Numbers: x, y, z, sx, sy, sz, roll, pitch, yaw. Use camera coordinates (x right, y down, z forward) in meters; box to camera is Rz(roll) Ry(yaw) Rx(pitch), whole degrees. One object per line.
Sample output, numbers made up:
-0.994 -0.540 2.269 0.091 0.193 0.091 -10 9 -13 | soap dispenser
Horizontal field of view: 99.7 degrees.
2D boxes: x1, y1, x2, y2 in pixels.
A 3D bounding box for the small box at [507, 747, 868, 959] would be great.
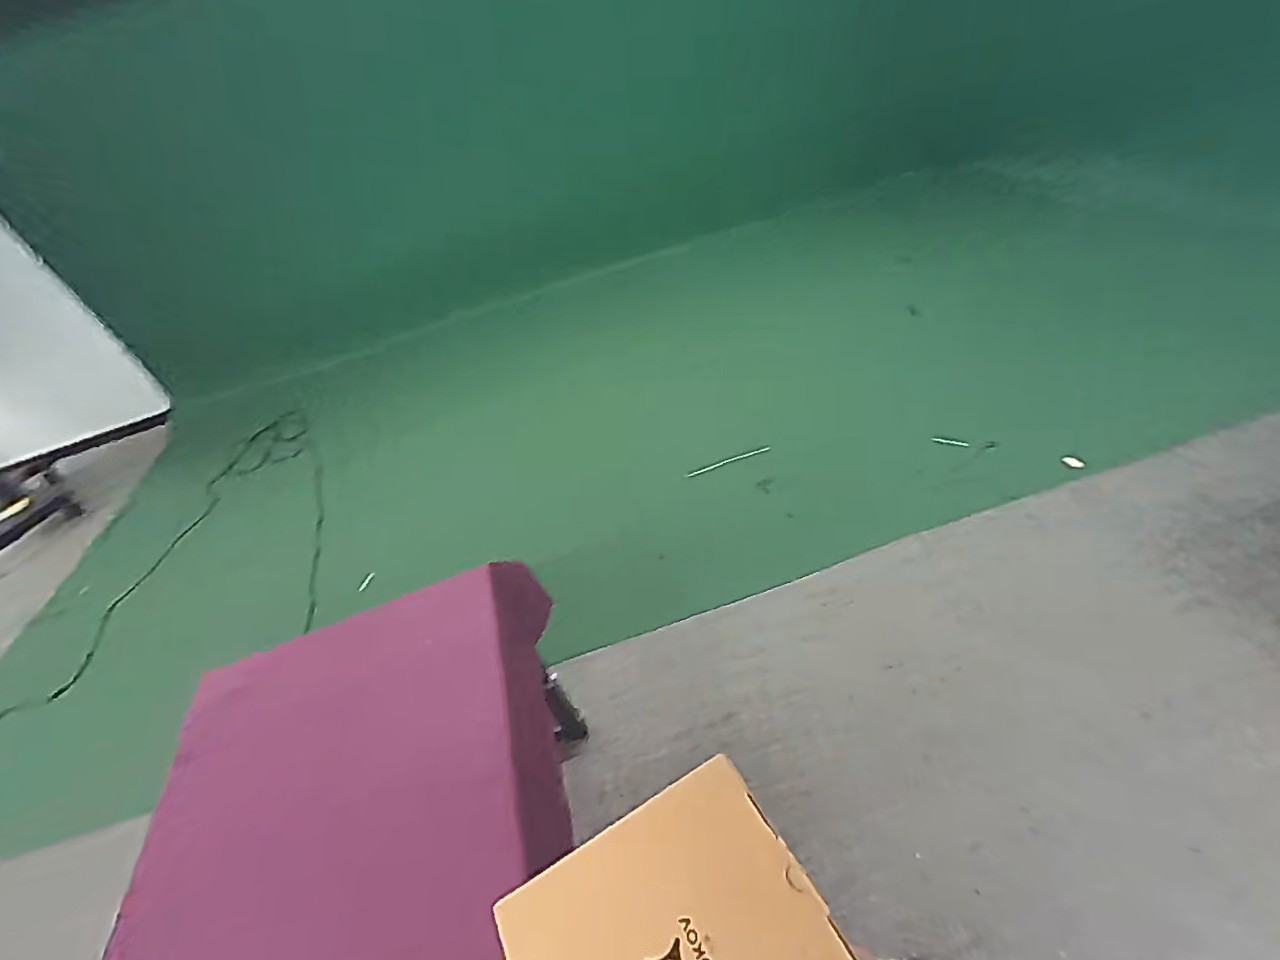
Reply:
0.039 0.326 0.360 0.179 0.176 0.168 -26 45 -14 | small box
